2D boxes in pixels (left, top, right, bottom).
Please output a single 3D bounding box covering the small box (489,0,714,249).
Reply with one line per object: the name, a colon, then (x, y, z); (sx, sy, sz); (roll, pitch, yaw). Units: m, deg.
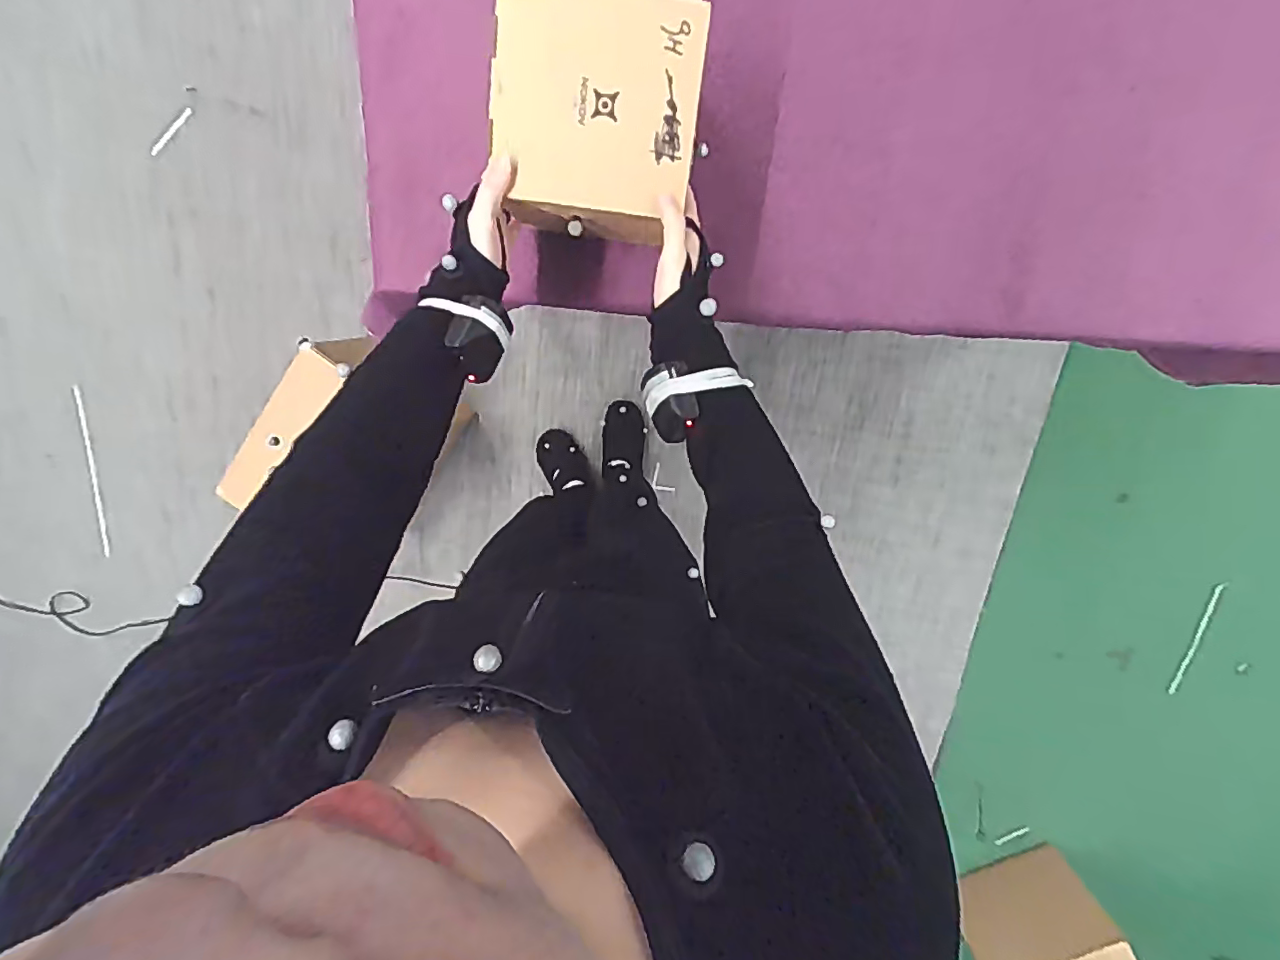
small box: (-0.035, -0.335, 0.535); (0.179, 0.176, 0.168); (8, 106, -1)
